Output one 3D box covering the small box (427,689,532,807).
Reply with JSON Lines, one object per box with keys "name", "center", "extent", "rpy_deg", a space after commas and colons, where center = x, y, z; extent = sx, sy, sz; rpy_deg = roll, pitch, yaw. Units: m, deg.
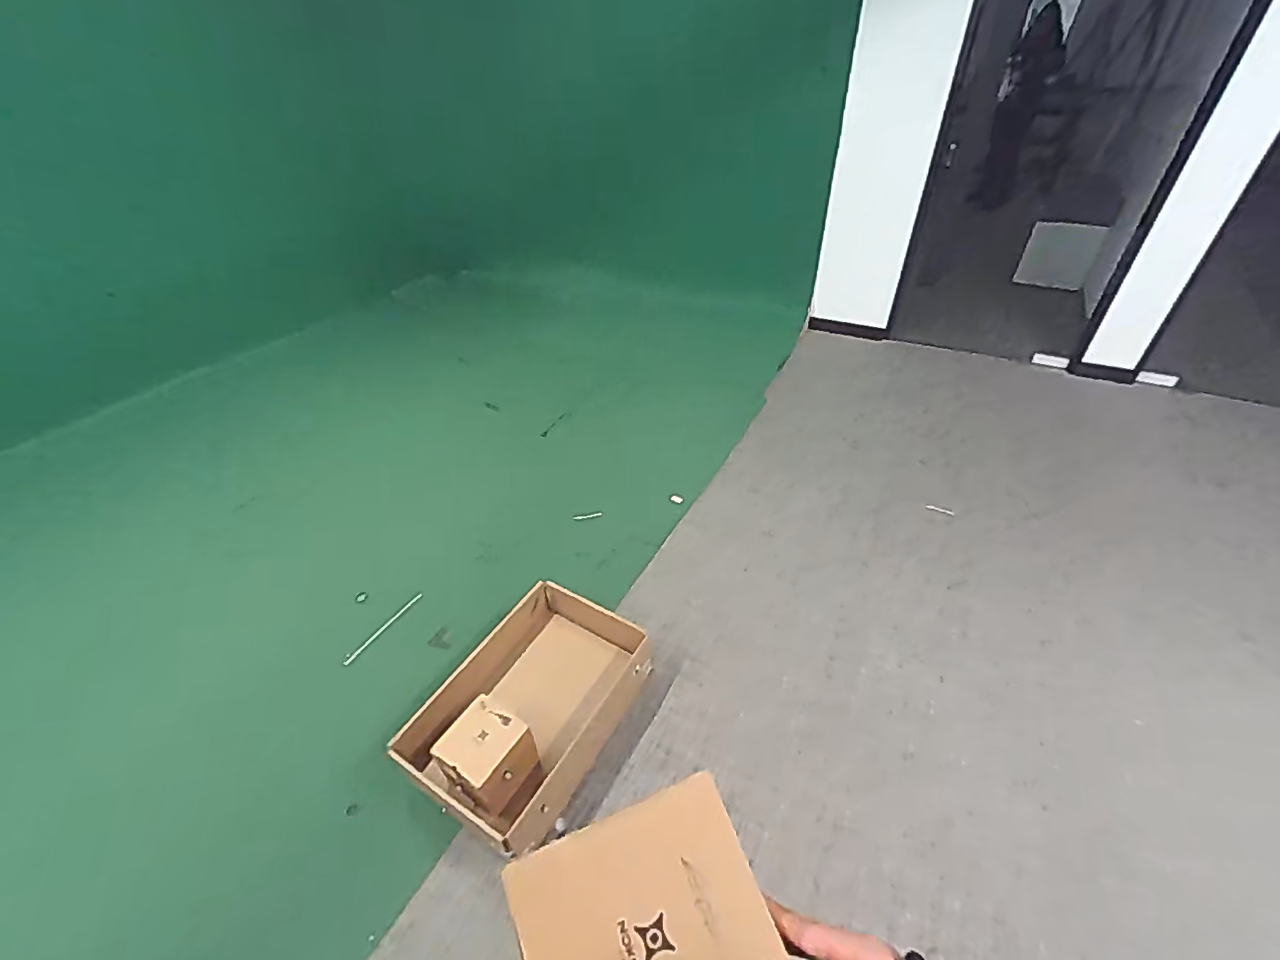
{"name": "small box", "center": [-0.390, 0.669, 1.346], "extent": [0.168, 0.176, 0.179], "rpy_deg": [22, 46, 24]}
